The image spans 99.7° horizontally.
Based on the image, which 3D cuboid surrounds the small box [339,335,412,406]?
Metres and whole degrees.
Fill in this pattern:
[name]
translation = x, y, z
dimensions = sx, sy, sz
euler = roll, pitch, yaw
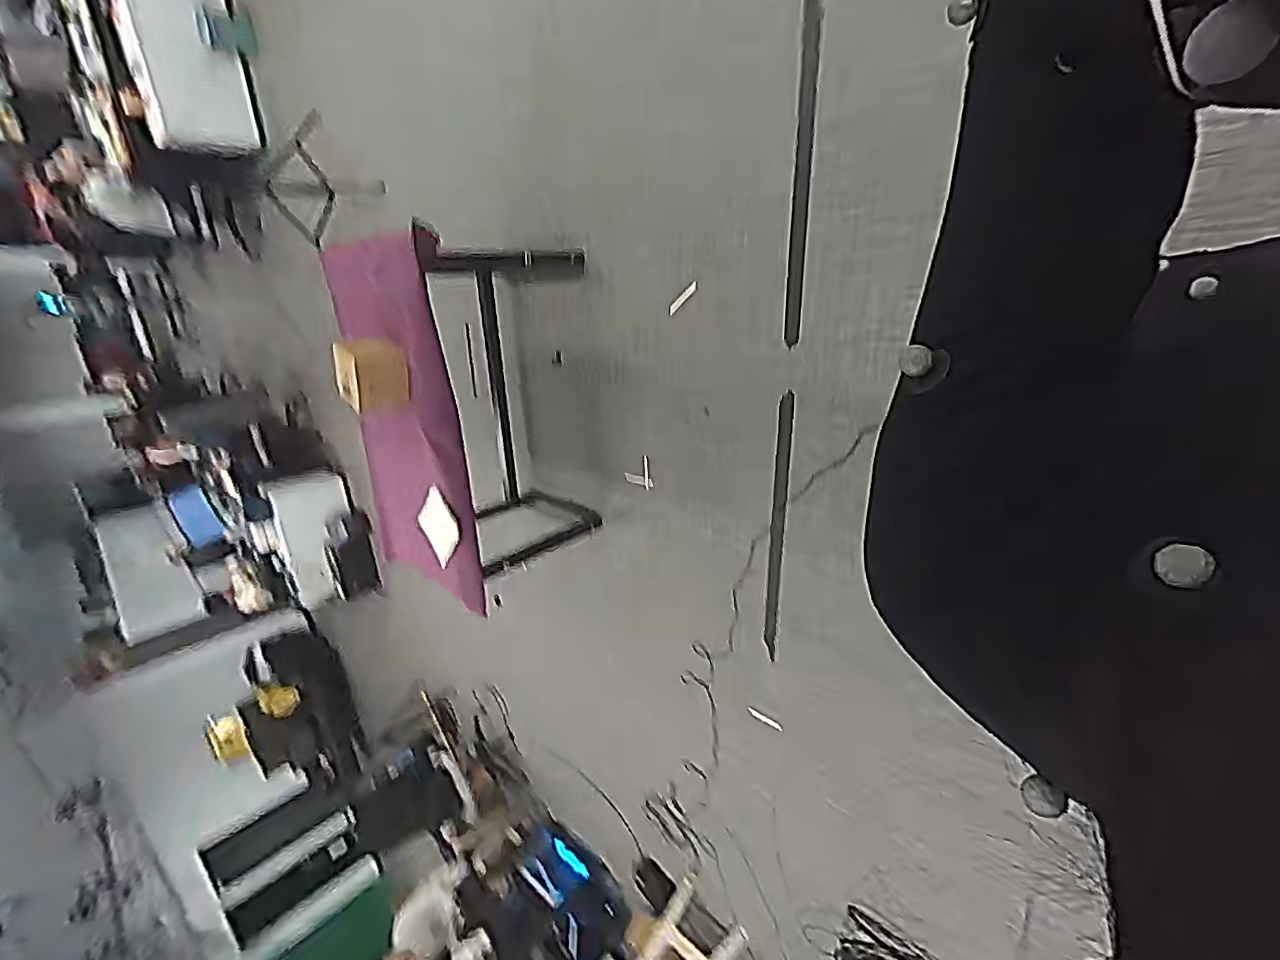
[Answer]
[small box]
translation = -0.869, -0.368, 1.791
dimensions = 0.168, 0.176, 0.179
euler = 33, 126, 34
